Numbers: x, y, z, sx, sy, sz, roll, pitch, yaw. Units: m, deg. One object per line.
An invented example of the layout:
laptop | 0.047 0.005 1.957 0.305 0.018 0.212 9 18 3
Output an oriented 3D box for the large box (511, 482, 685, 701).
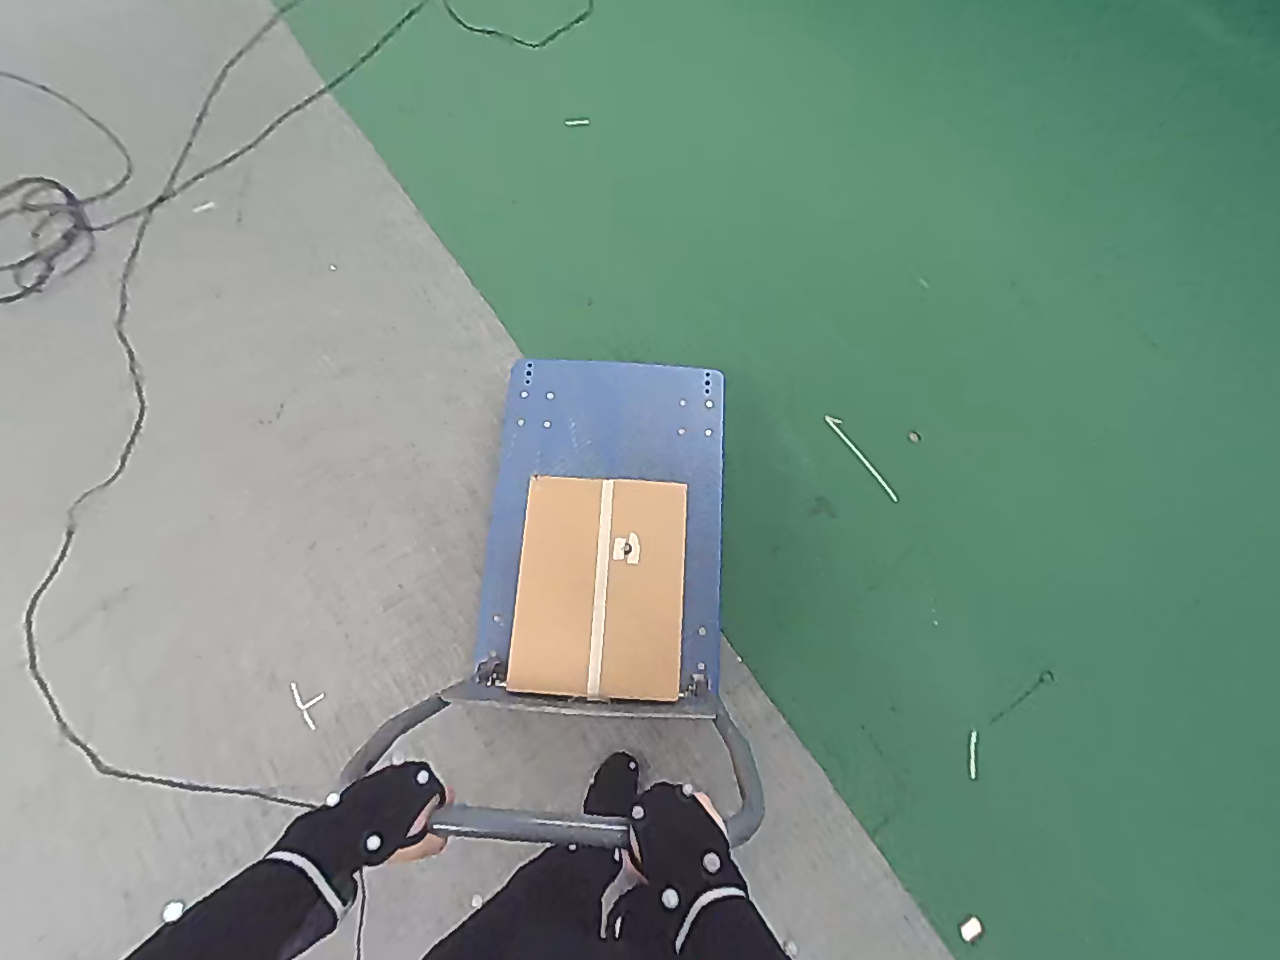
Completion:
large box | -0.071 0.242 1.164 0.320 0.320 0.408 3 74 0
